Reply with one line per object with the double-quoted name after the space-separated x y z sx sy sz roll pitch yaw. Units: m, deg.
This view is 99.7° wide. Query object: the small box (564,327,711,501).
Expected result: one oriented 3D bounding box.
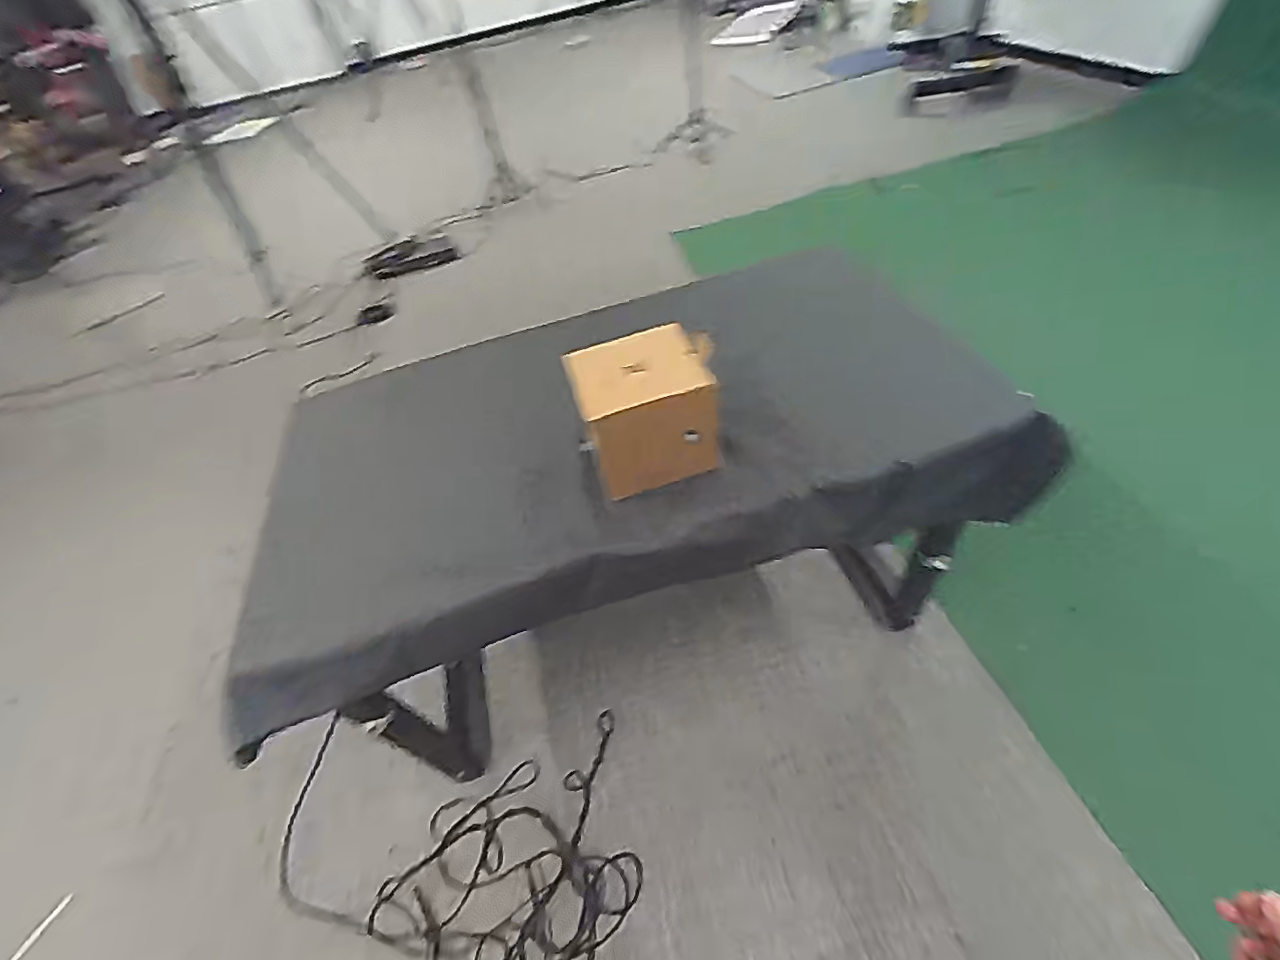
0.002 -0.098 0.821 0.179 0.176 0.168 -19 47 -4 "small box"
